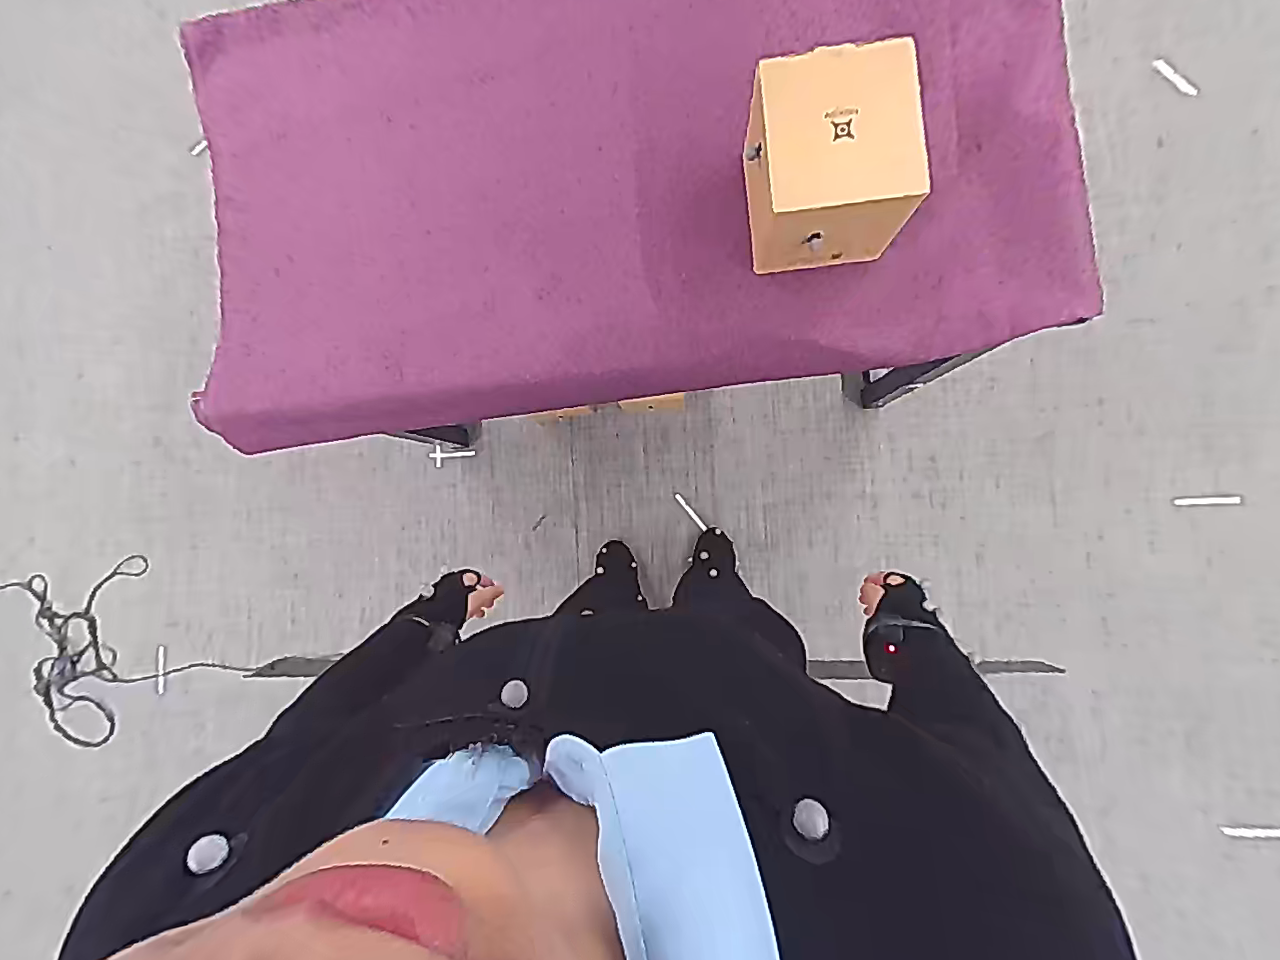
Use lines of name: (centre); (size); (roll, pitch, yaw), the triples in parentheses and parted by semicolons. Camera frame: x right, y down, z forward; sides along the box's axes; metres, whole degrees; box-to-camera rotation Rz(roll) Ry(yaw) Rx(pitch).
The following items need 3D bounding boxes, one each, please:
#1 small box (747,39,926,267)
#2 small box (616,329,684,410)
small box: (0.227, -0.379, 0.664); (0.168, 0.176, 0.179); (-5, 87, 5)
small box: (0.030, -0.280, 1.411); (0.168, 0.176, 0.179); (-2, 87, 5)
